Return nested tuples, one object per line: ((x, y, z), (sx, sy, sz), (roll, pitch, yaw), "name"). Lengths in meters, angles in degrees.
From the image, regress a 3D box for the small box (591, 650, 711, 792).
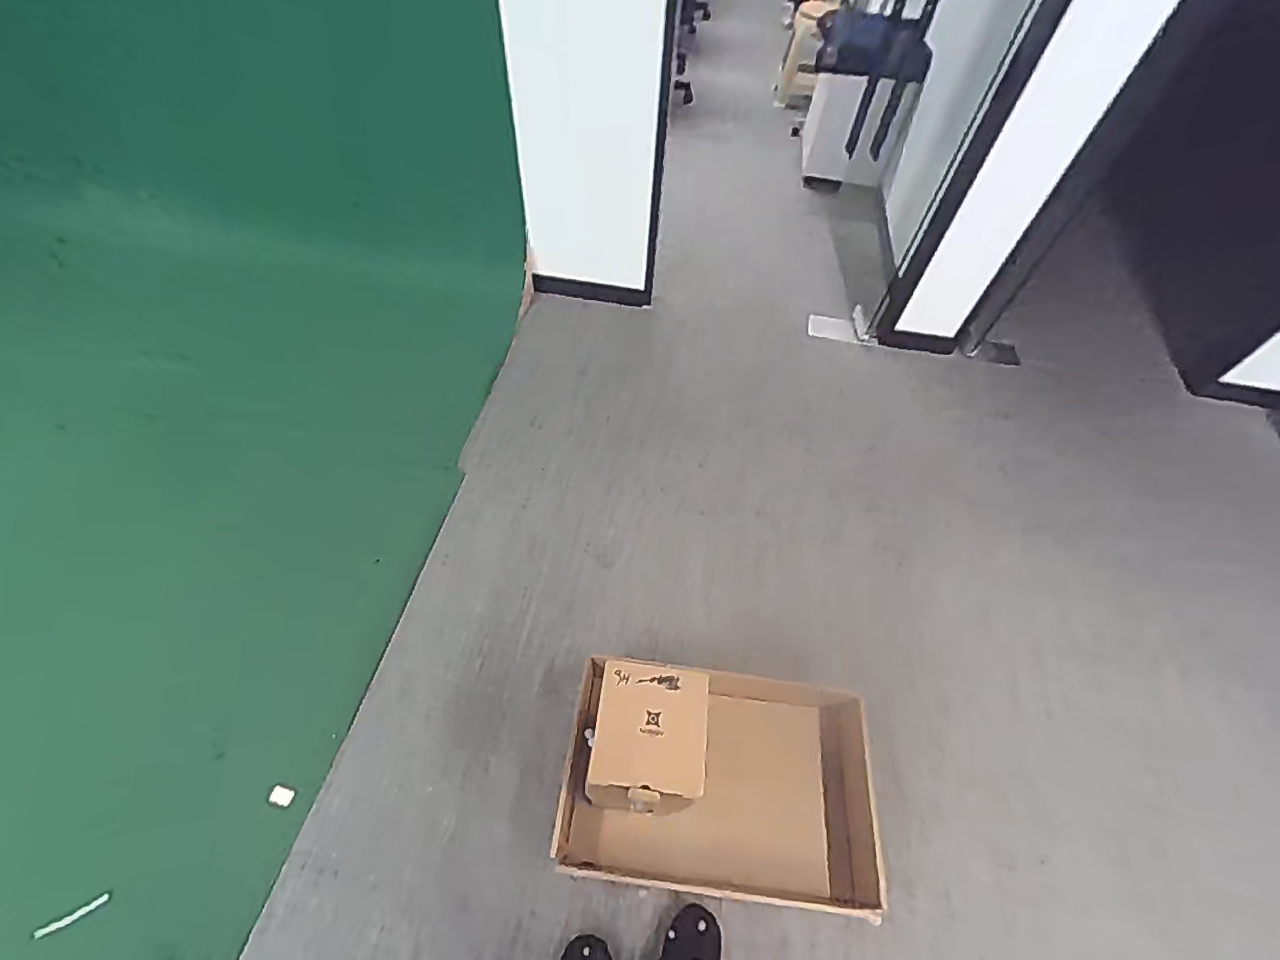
((0.018, 0.397, 0.880), (0.168, 0.176, 0.179), (8, 56, 1), "small box")
